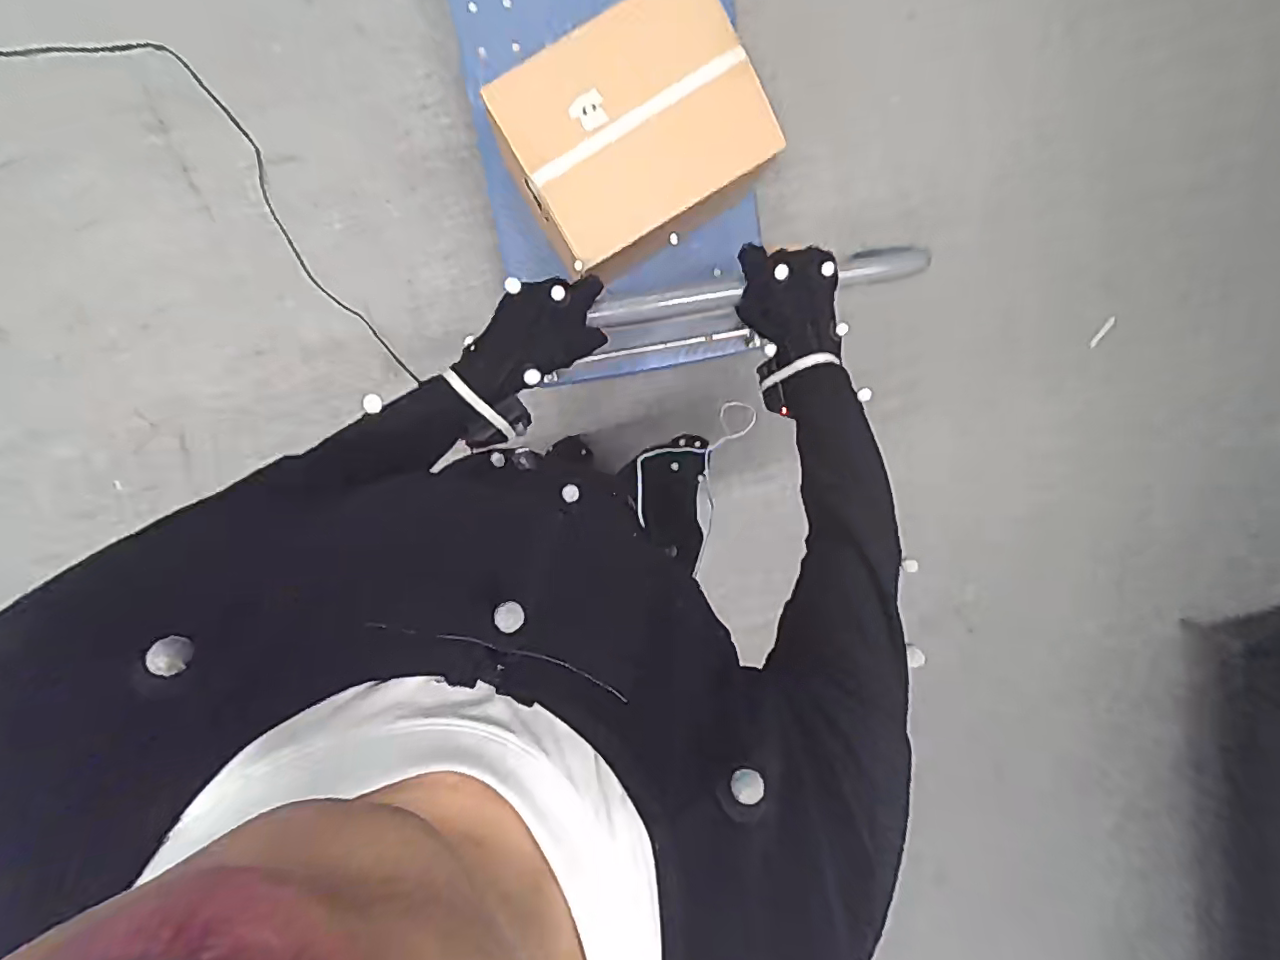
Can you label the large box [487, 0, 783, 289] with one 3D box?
[{"bbox_3d":[-0.014,-0.617,1.024,0.408,0.320,0.320,-31,103,1],"label":"large box"}]
